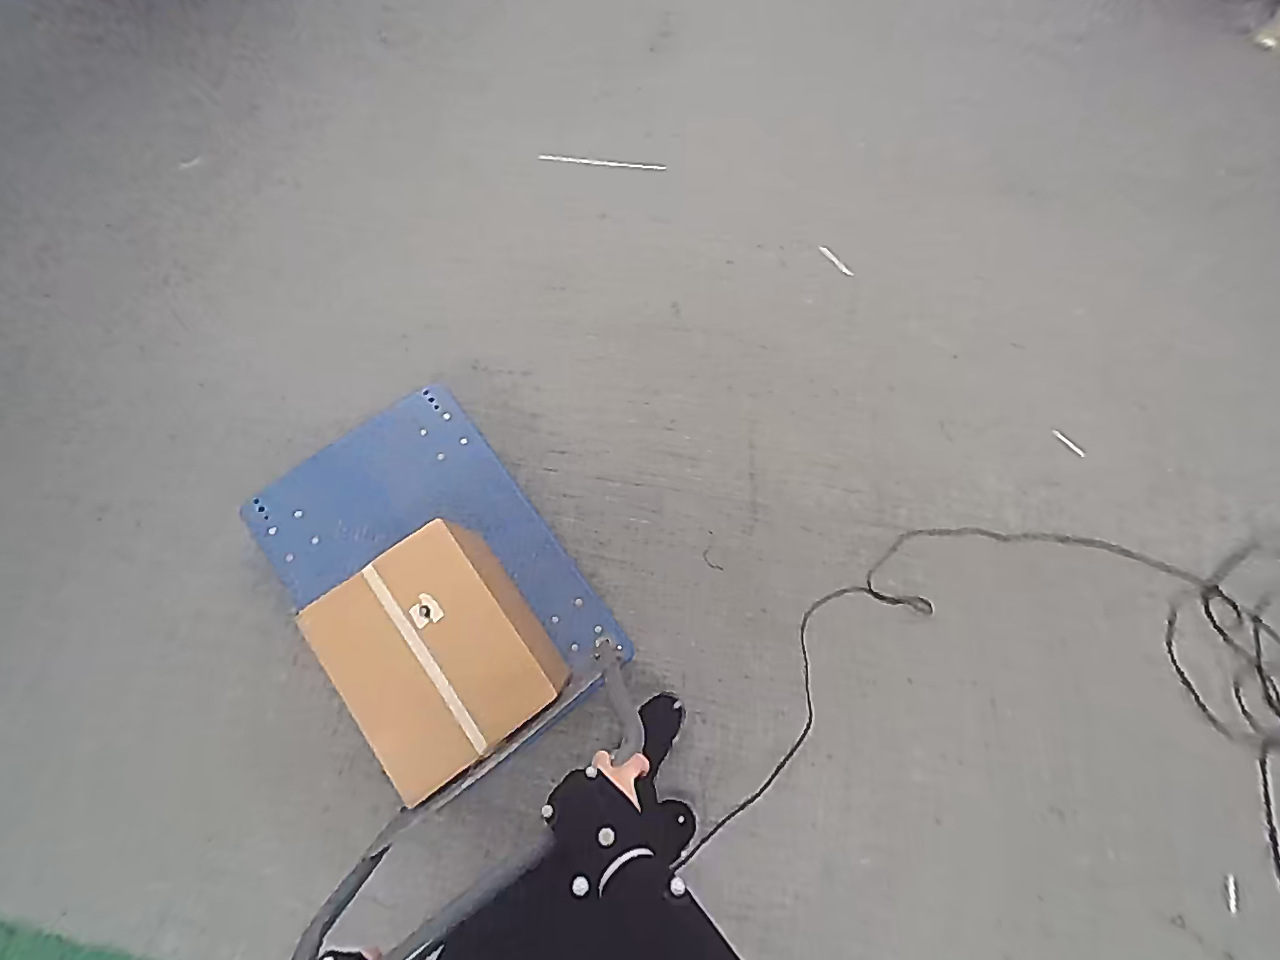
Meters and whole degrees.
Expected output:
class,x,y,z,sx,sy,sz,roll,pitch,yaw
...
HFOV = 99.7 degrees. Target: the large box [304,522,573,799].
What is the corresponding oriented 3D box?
class,x,y,z,sx,sy,sz,roll,pitch,yaw
large box,-0.389,0.354,1.142,0.320,0.320,0.408,-36,81,-10
